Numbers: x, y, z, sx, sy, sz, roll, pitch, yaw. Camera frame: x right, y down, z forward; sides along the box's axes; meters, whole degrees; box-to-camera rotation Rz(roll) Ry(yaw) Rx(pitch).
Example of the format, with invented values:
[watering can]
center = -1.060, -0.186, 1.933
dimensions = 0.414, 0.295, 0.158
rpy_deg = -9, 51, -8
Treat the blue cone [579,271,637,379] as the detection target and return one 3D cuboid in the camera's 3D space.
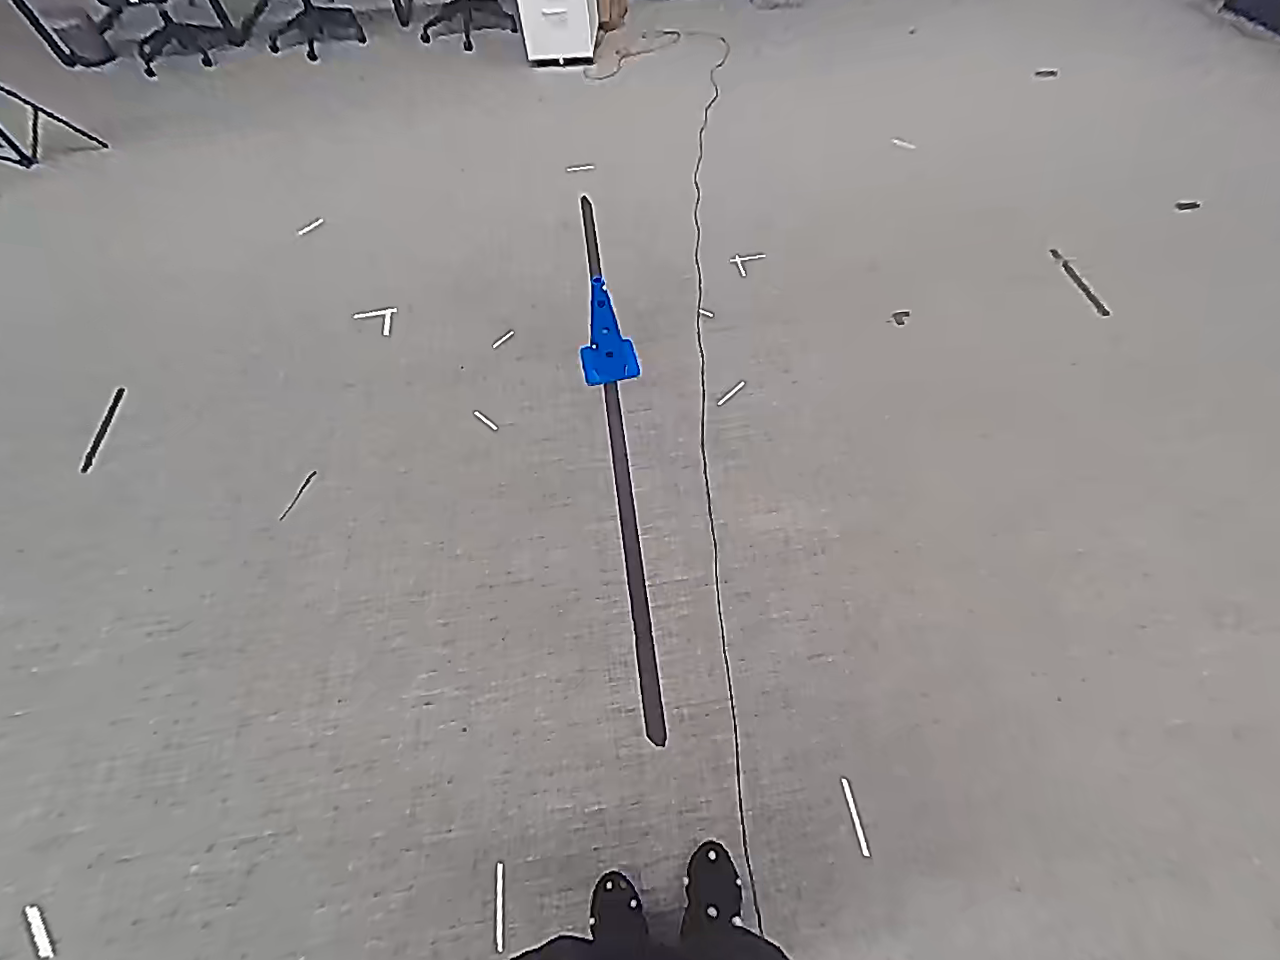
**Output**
[blue cone]
center = -0.130, -0.539, 1.839
dimensions = 0.192, 0.380, 0.193
rpy_deg = -13, 57, -4
